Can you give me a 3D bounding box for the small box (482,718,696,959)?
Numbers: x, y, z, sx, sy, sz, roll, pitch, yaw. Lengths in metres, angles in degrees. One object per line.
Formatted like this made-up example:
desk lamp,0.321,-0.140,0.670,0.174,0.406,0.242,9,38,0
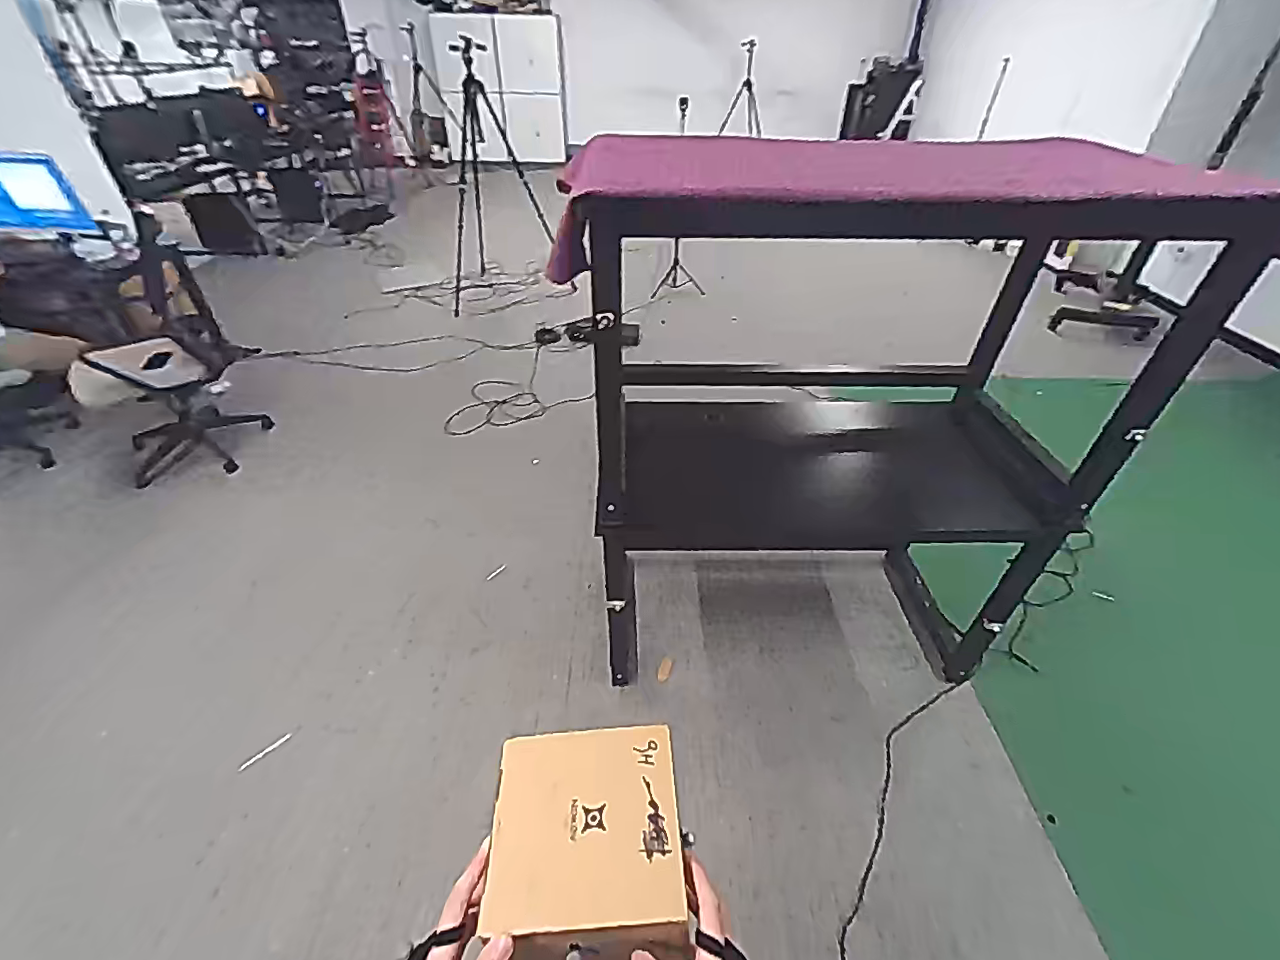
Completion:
small box,-0.040,0.368,0.550,0.179,0.176,0.168,-5,38,1
